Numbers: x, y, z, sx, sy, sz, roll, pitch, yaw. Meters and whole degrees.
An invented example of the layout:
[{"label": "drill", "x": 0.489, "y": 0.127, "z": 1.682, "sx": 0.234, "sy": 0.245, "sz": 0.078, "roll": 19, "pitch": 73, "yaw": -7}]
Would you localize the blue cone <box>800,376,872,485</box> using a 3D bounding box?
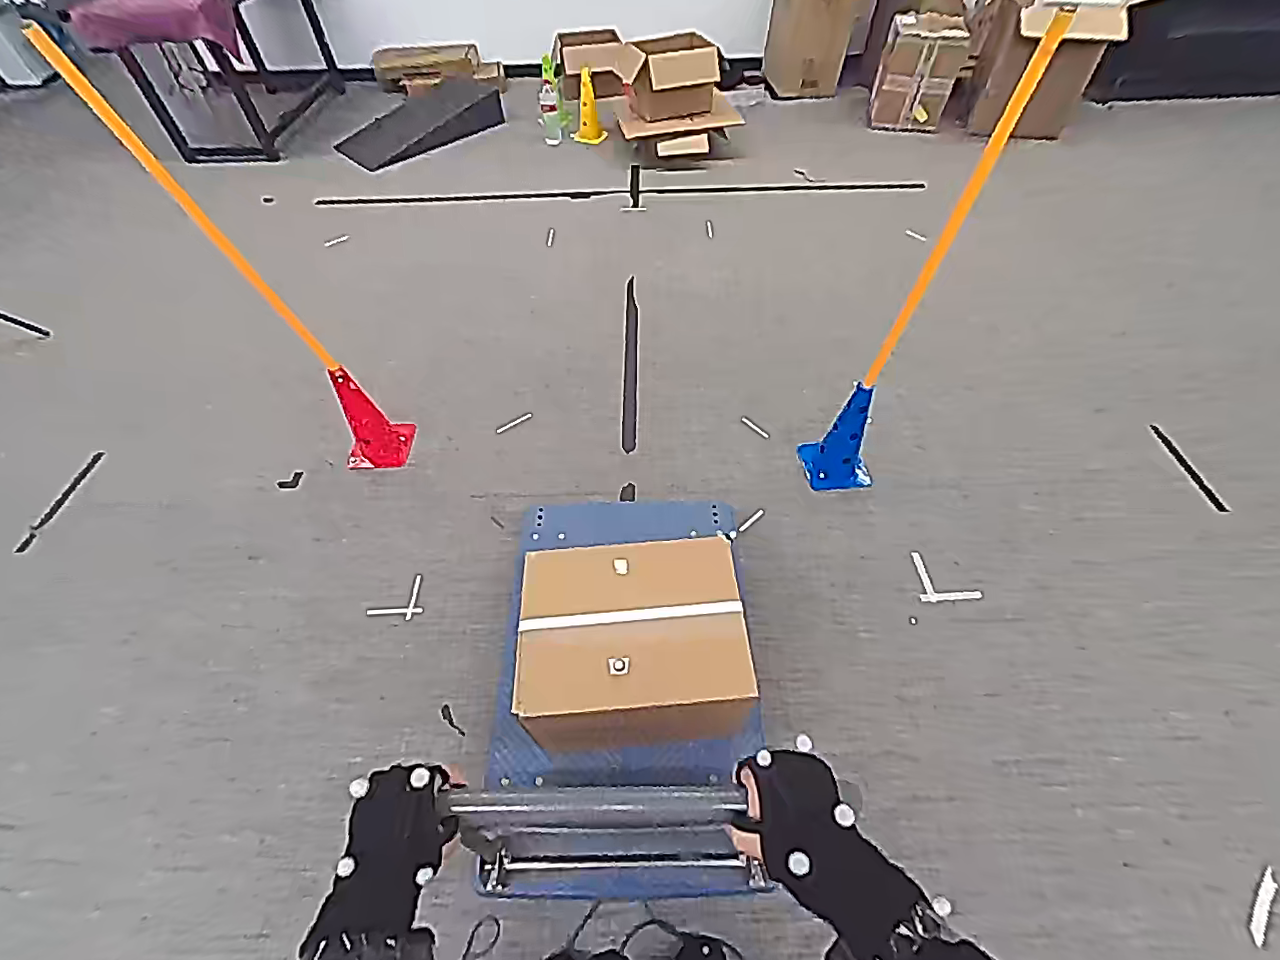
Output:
[{"label": "blue cone", "x": 0.643, "y": -0.160, "z": 1.670, "sx": 0.193, "sy": 0.380, "sz": 0.192, "roll": -4, "pitch": 52, "yaw": -2}]
